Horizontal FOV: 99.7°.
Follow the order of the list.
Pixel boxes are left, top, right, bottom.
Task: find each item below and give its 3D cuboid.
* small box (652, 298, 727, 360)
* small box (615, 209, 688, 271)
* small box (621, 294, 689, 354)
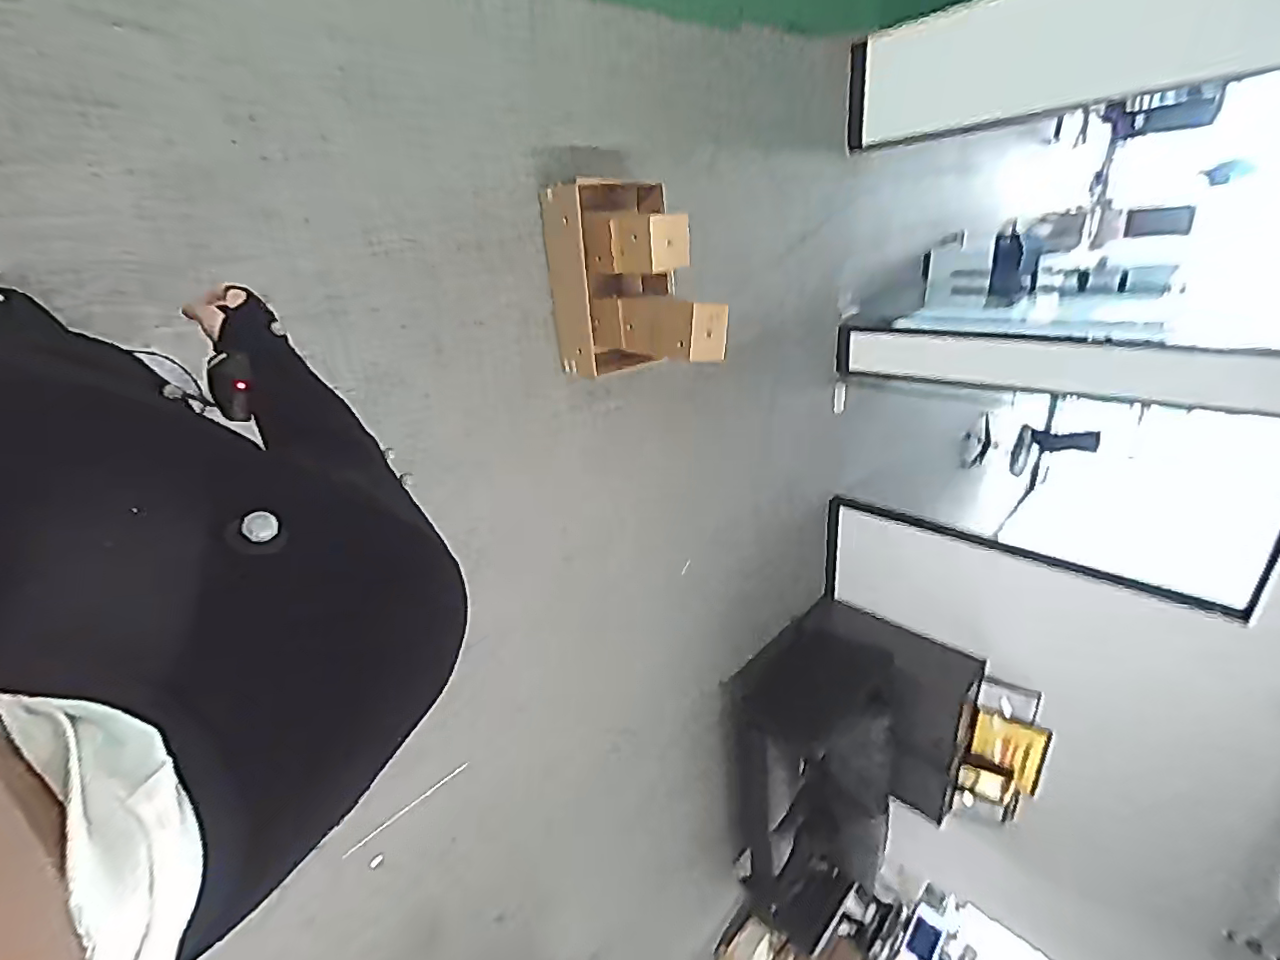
[{"bbox_3d":[0.153,-0.480,1.719,0.168,0.176,0.179,-12,112,-41],"label":"small box"},{"bbox_3d":[0.032,-0.771,1.741,0.179,0.176,0.168,-28,124,-36],"label":"small box"},{"bbox_3d":[0.049,-0.534,1.838,0.168,0.176,0.179,-22,119,-38],"label":"small box"}]
